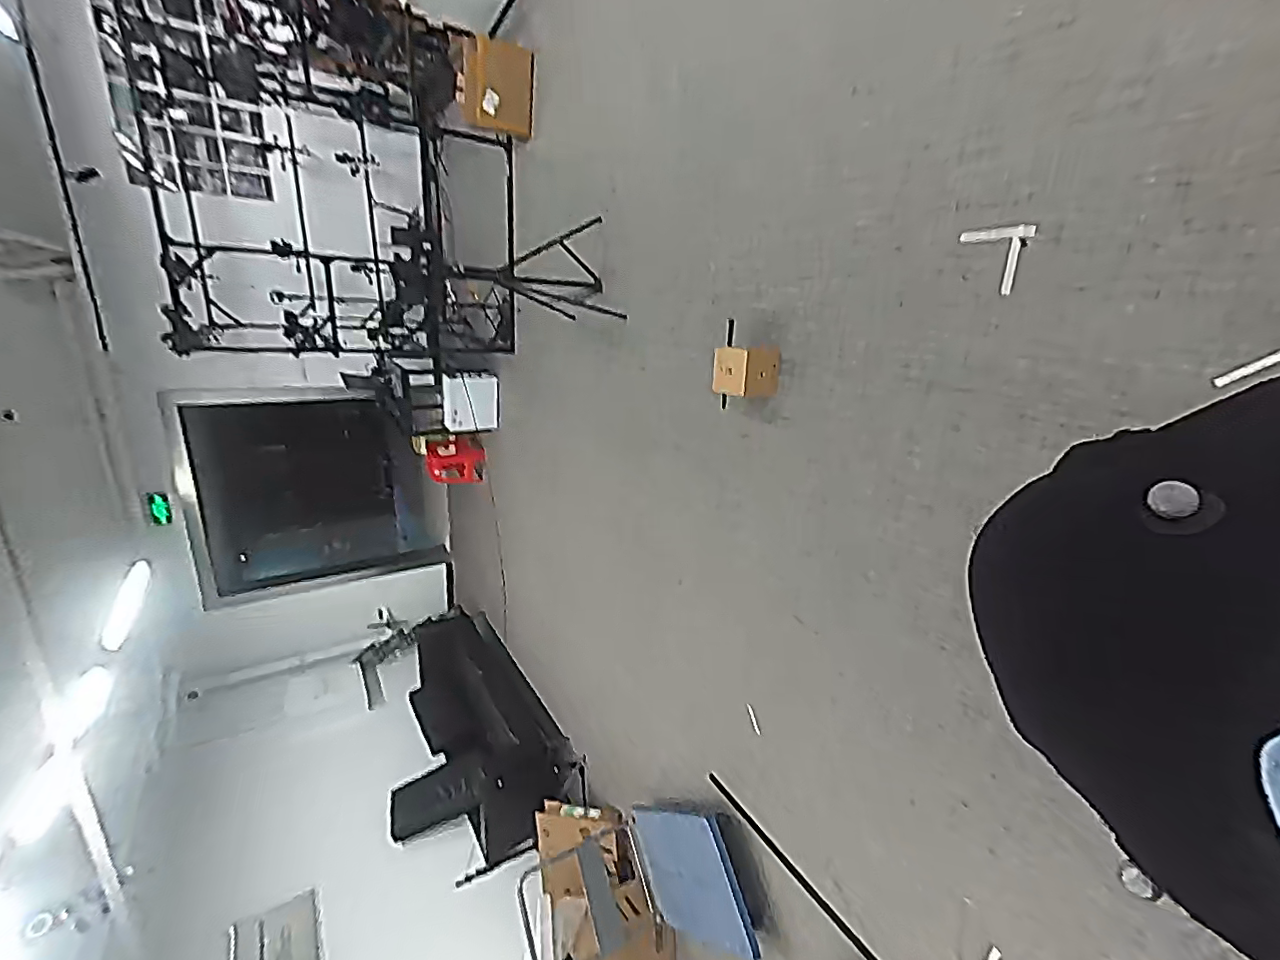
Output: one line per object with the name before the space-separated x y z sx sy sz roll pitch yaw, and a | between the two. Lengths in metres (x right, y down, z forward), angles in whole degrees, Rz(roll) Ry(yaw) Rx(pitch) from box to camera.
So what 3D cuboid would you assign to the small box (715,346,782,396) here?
small box | 0.404 -0.411 2.013 0.179 0.176 0.168 26 119 54
